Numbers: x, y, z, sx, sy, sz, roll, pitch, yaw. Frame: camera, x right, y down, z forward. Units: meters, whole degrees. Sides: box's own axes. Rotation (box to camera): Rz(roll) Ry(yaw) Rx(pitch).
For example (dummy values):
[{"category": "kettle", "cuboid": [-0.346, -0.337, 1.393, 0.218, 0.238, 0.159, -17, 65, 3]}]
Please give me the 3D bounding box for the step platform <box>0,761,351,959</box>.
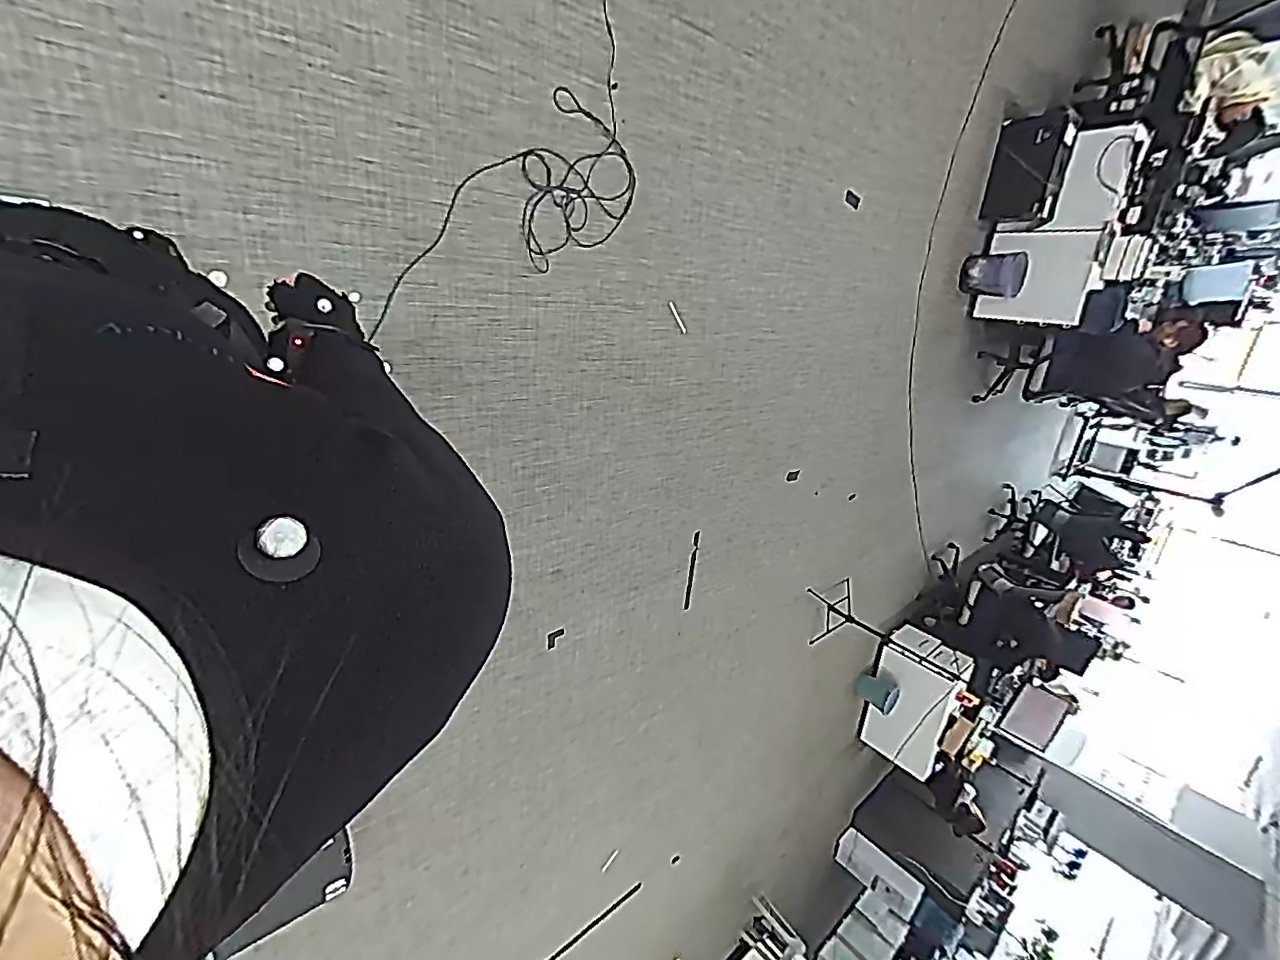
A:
[{"category": "step platform", "cuboid": [-1.121, 1.030, 1.372, 0.684, 0.204, 0.286, -13, 116, -38]}]
